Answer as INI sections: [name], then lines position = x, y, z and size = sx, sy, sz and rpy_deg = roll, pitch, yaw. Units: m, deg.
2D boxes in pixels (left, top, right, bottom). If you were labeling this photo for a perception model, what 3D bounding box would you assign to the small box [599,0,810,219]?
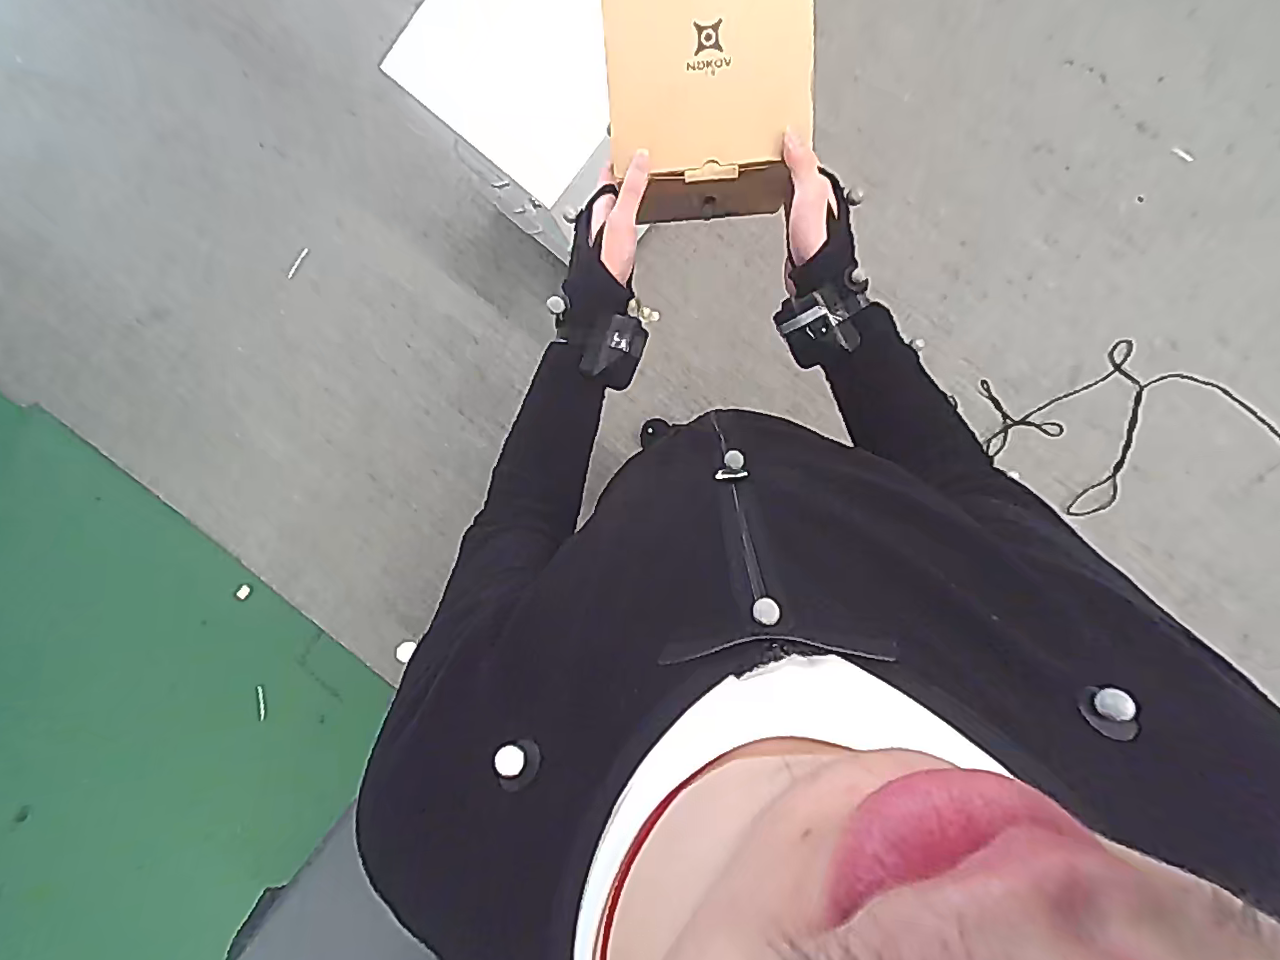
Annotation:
[small box]
position = 0.061, -0.362, 0.513
size = 0.168, 0.176, 0.179
rpy_deg = -5, 102, 7
